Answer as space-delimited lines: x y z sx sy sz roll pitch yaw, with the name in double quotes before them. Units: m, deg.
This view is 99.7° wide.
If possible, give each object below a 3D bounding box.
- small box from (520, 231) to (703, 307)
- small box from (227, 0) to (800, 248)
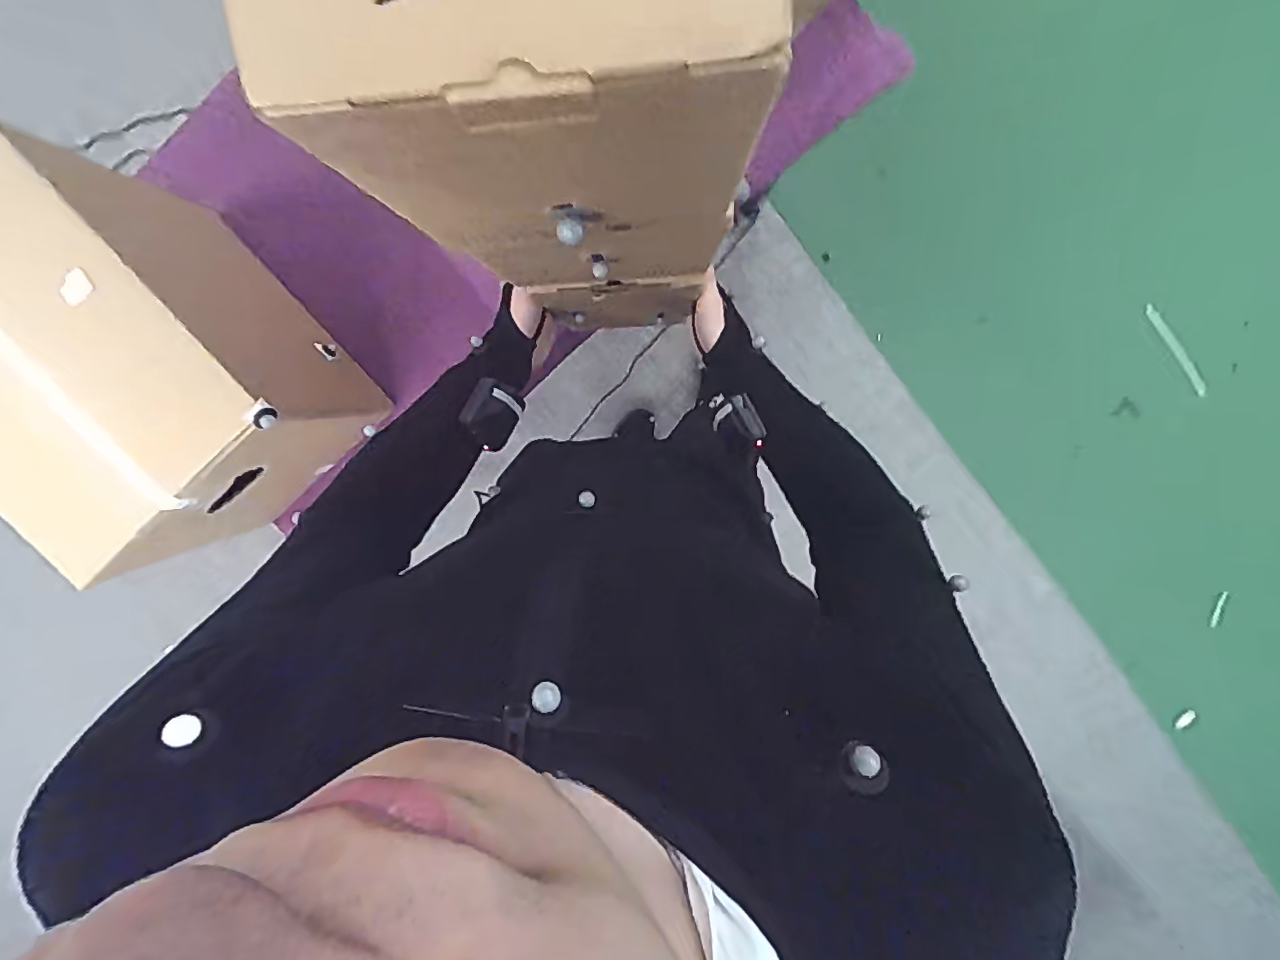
"small box" -0.024 -0.272 0.547 0.168 0.176 0.179 -1 100 1
"small box" -0.038 -0.212 0.223 0.168 0.176 0.179 -3 100 2
